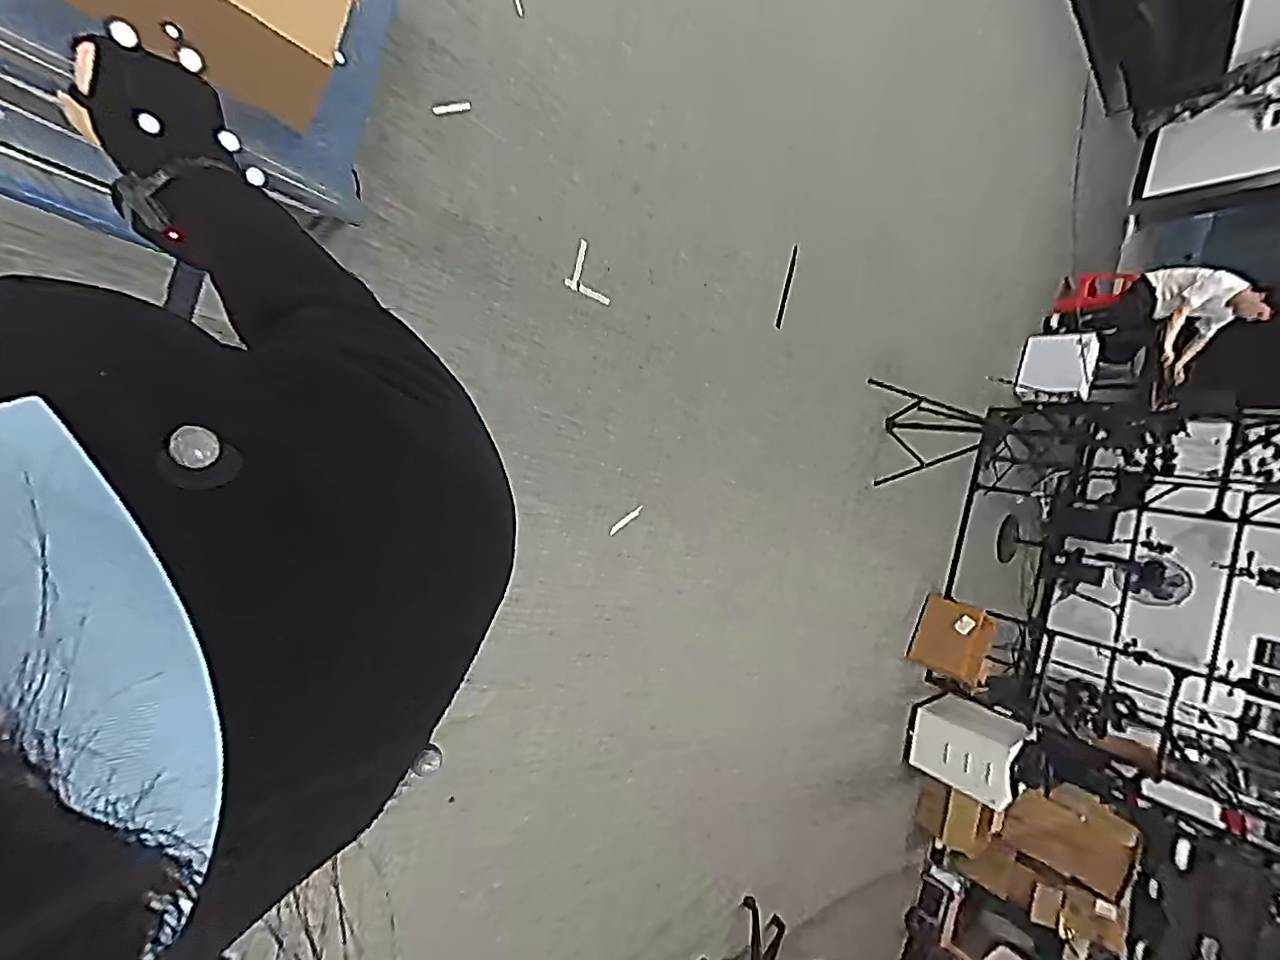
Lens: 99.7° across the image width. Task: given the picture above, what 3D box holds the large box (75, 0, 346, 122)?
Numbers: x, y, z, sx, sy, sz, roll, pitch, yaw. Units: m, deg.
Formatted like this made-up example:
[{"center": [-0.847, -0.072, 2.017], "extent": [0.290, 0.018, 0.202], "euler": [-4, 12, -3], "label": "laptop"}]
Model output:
[{"center": [-0.679, -0.861, 0.827], "extent": [0.408, 0.320, 0.320], "euler": [17, 86, -39], "label": "large box"}]
